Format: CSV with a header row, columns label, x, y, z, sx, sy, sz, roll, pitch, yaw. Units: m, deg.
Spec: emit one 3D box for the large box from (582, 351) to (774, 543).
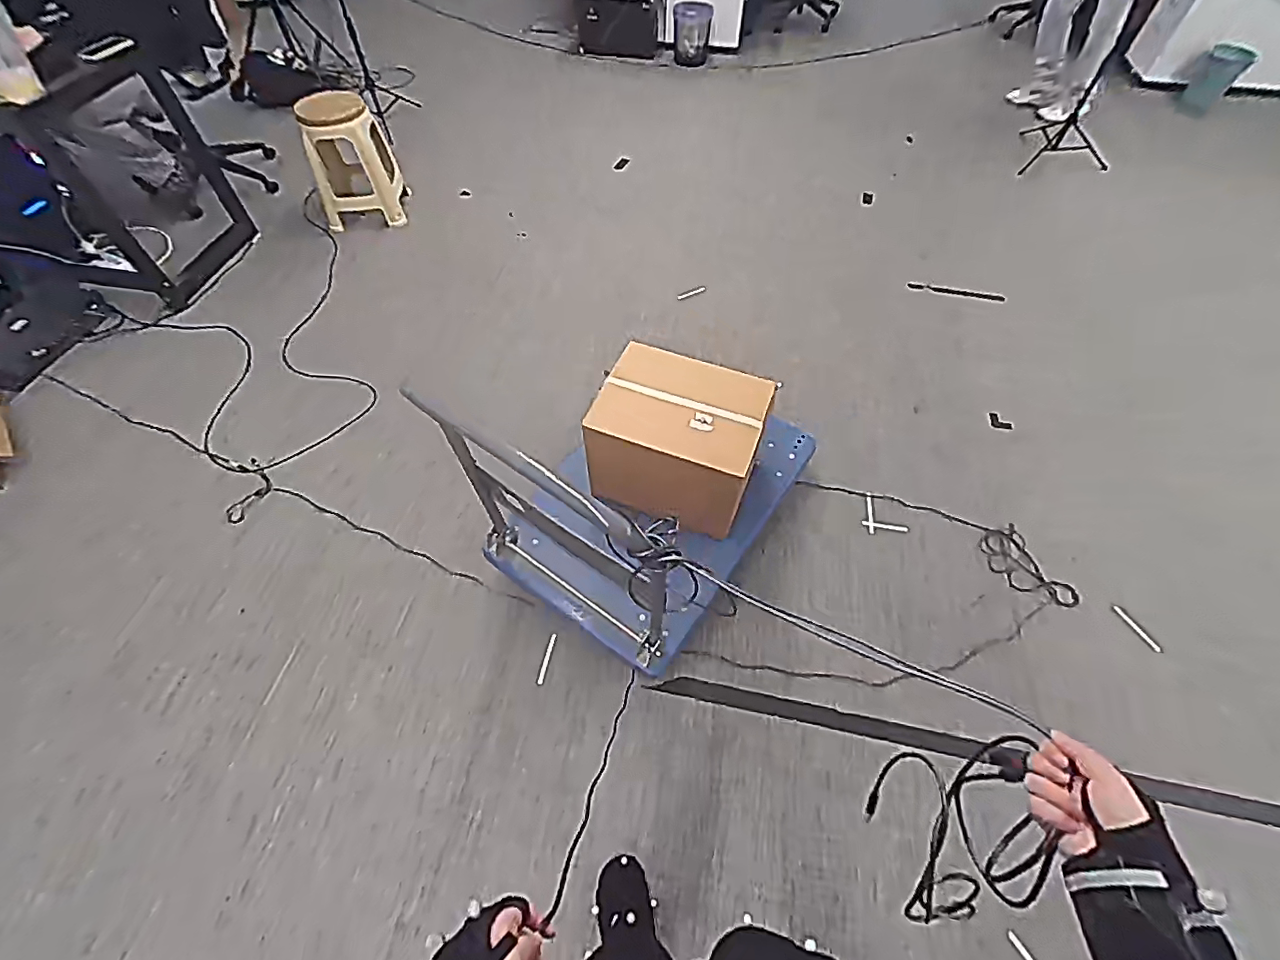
label,x,y,z,sx,sy,sz,roll,pitch,yaw
large box,0.094,-0.085,1.438,0.408,0.320,0.320,19,58,11
